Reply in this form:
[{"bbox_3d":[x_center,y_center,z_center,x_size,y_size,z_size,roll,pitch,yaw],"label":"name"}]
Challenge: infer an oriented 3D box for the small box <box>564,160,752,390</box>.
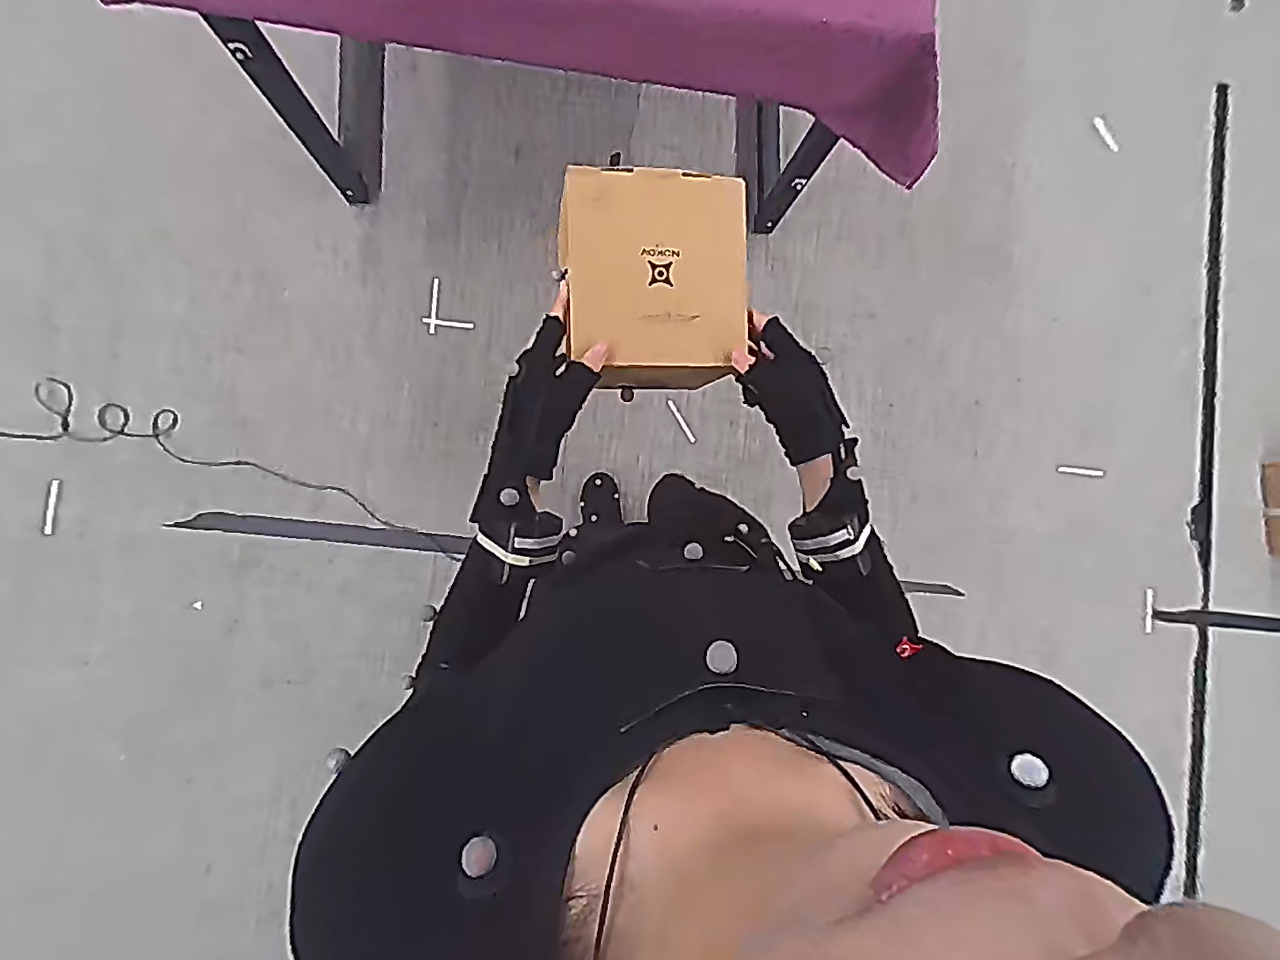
[{"bbox_3d":[0.008,-0.194,0.562,0.168,0.176,0.179,-1,92,-10],"label":"small box"}]
